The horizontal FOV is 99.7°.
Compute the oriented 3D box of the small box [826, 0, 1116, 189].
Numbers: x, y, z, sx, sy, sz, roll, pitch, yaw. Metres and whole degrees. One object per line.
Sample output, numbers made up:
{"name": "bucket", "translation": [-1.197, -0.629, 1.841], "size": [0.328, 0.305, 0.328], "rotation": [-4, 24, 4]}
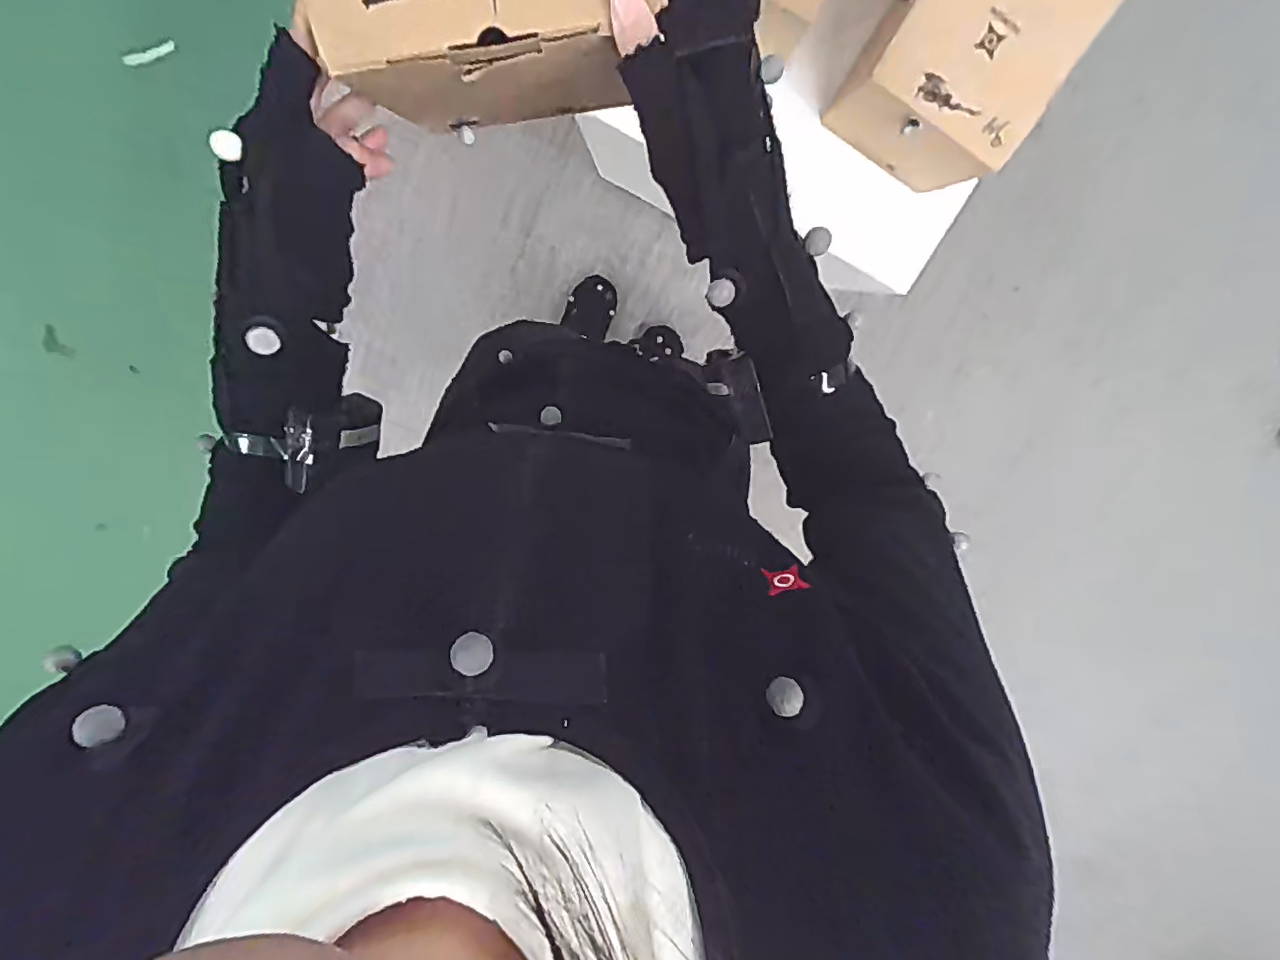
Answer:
{"name": "small box", "translation": [0.332, -0.450, 0.582], "size": [0.168, 0.176, 0.179], "rotation": [29, 108, -10]}

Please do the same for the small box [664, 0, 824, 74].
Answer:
{"name": "small box", "translation": [0.127, -0.563, 0.543], "size": [0.168, 0.176, 0.179], "rotation": [24, 111, -8]}

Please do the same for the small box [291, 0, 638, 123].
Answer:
{"name": "small box", "translation": [-0.093, -0.320, 0.300], "size": [0.168, 0.176, 0.179], "rotation": [-9, 113, 2]}
